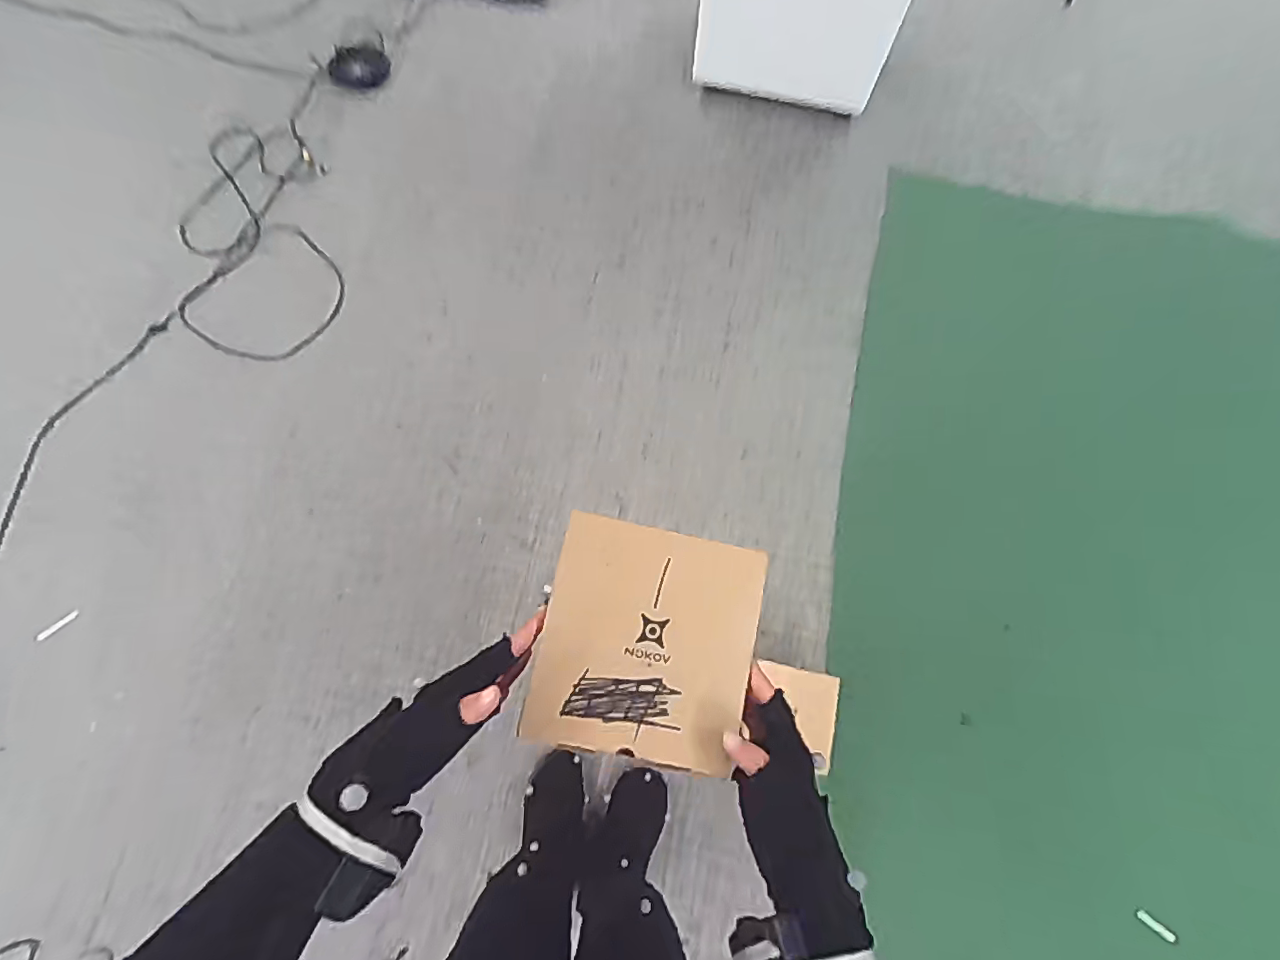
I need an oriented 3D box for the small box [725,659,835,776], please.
[{"bbox_3d":[0.277,0.470,1.097,0.168,0.176,0.179,13,74,3],"label":"small box"}]
